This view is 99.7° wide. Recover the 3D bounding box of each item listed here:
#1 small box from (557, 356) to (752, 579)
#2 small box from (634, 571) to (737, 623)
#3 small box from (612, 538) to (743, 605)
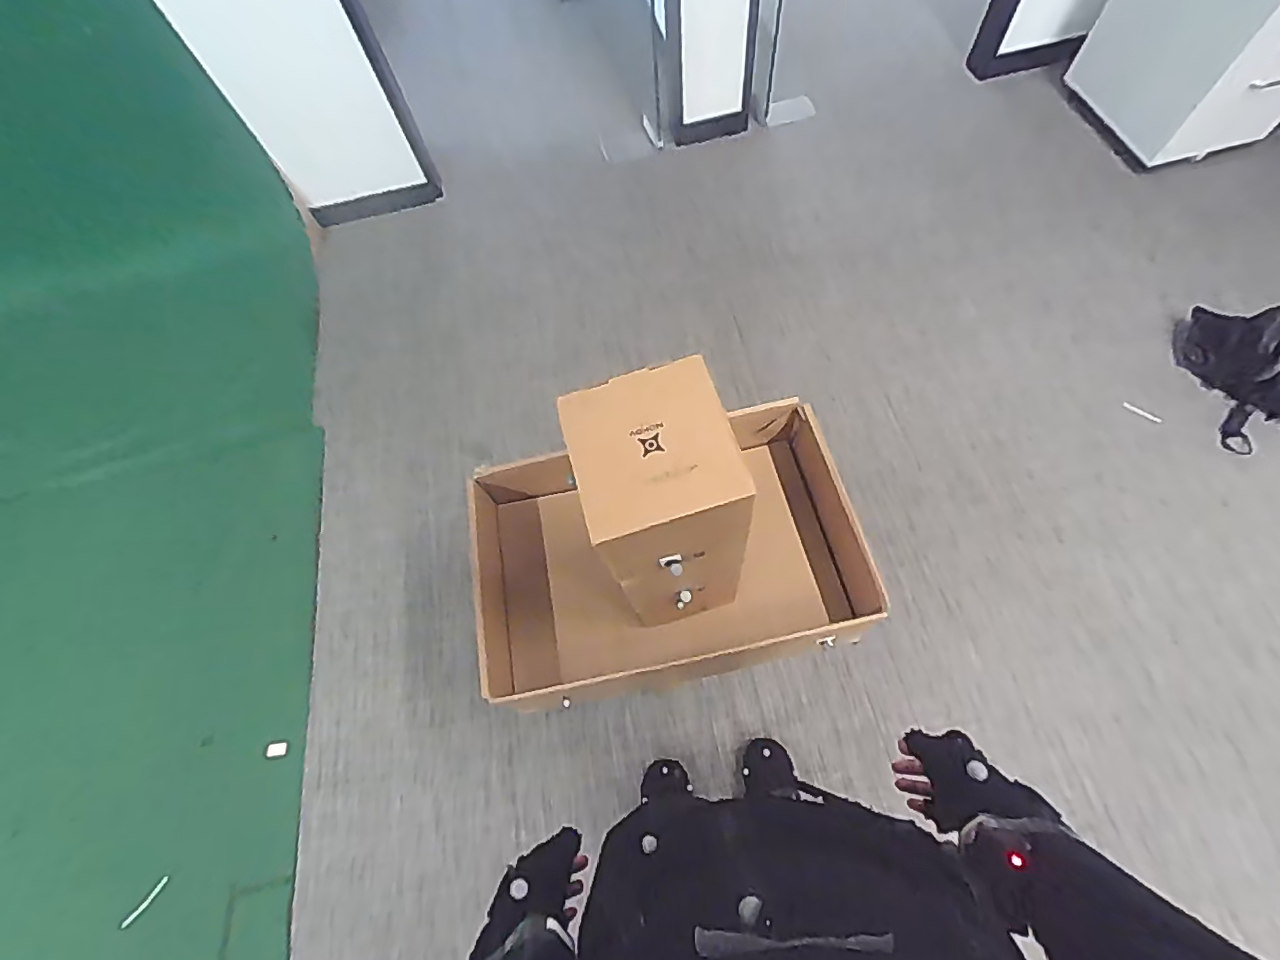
[{"bbox_3d":[0.018,-0.006,0.623,0.168,0.176,0.179,-18,65,0],"label":"small box"},{"bbox_3d":[0.056,0.123,0.919,0.168,0.176,0.179,-18,64,0],"label":"small box"},{"bbox_3d":[0.036,0.060,0.769,0.168,0.176,0.179,-17,65,-1],"label":"small box"}]
